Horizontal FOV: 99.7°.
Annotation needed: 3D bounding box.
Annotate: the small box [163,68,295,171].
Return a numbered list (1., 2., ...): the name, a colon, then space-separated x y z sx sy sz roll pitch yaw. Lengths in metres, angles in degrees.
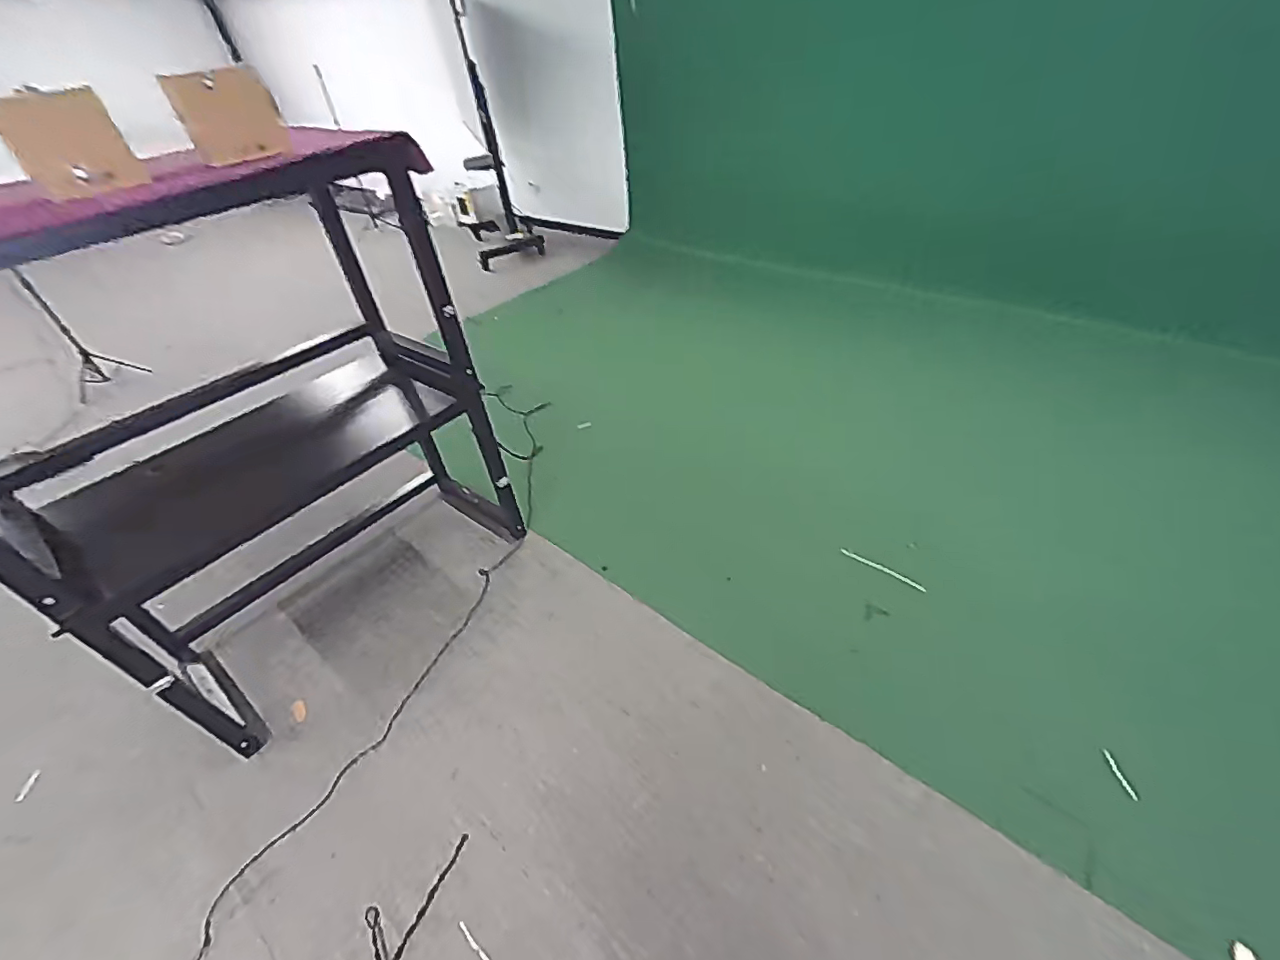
1. small box: -0.920 -0.810 1.219 0.168 0.176 0.179 -35 46 -27

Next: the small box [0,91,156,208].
1. small box: -1.111 -0.649 1.062 0.179 0.176 0.168 27 52 34
